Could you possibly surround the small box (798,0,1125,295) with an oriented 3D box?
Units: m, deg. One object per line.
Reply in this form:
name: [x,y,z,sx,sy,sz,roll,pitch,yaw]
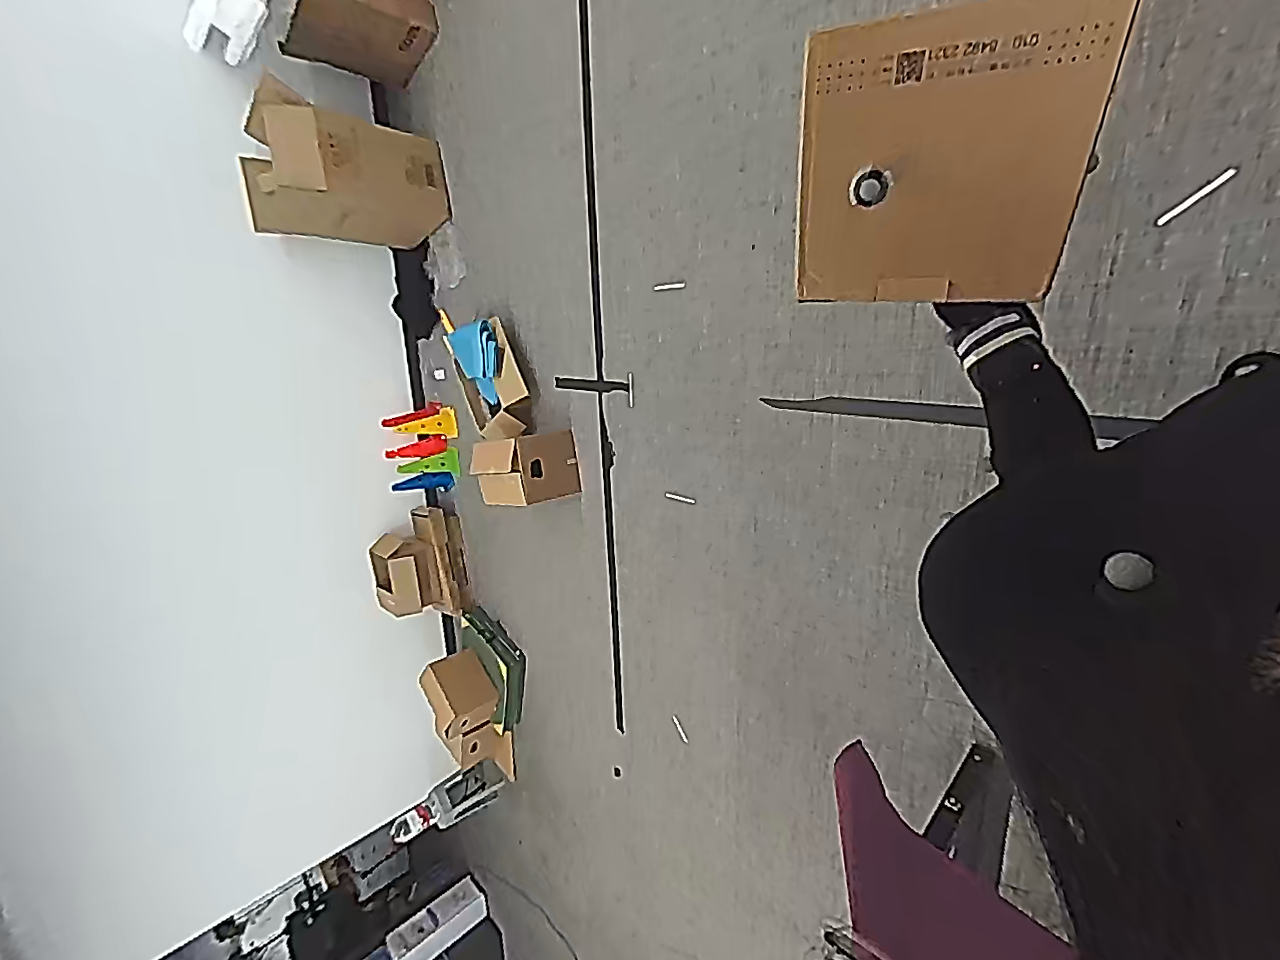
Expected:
small box: [0.215,-0.248,0.403,0.168,0.179,0.176,8,128,21]
